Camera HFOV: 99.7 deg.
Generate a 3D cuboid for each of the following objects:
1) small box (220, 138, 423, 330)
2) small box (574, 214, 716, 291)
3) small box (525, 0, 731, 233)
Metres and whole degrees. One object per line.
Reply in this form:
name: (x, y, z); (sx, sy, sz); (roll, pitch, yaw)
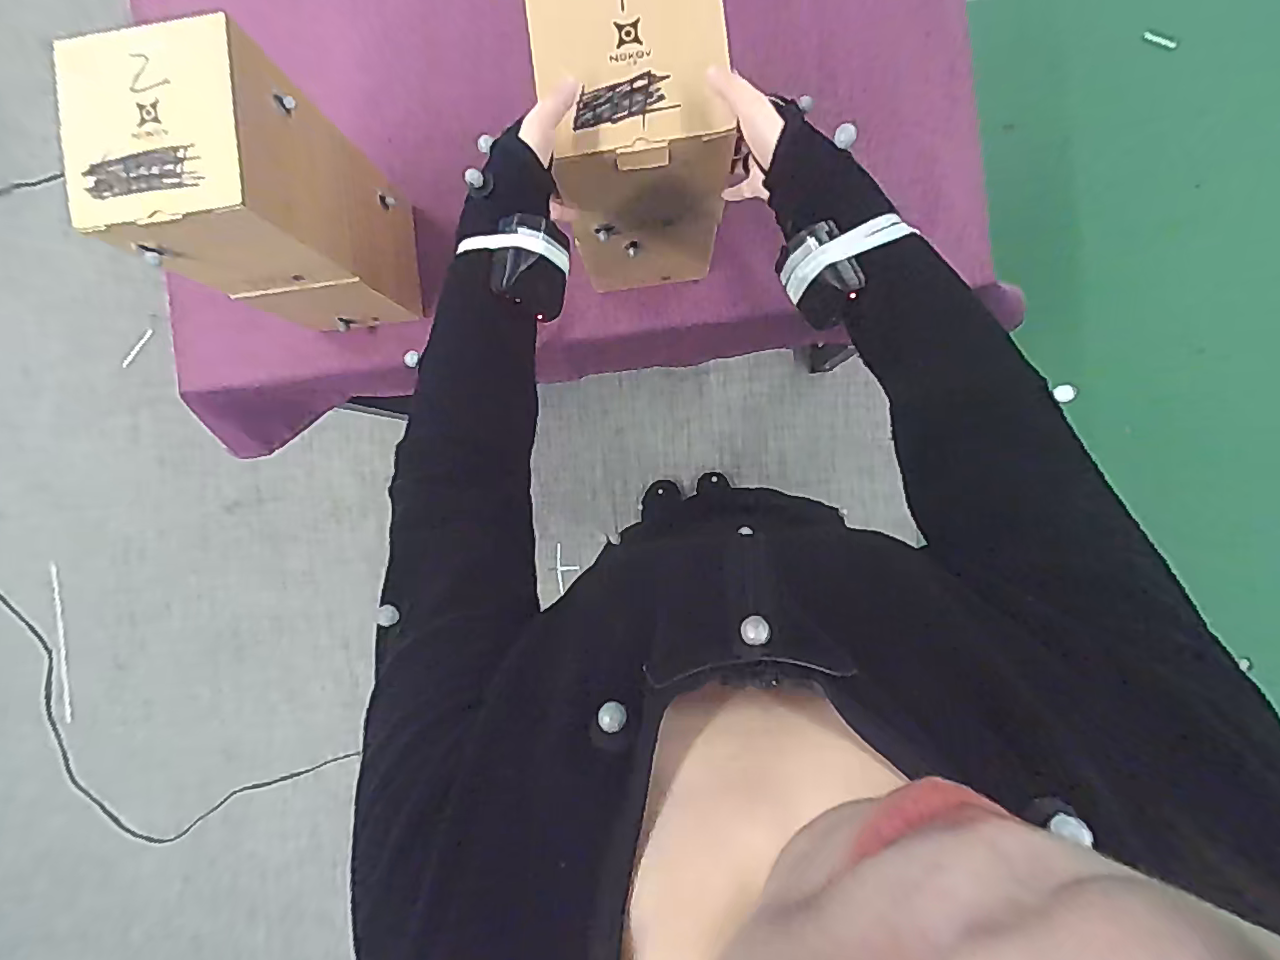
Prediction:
small box: (-0.413, -0.316, 0.728); (0.168, 0.176, 0.179); (-6, 92, 4)
small box: (0.003, -0.368, 0.700); (0.168, 0.176, 0.179); (-7, 90, 5)
small box: (-0.006, -0.366, 0.536); (0.168, 0.176, 0.179); (-7, 90, 4)
